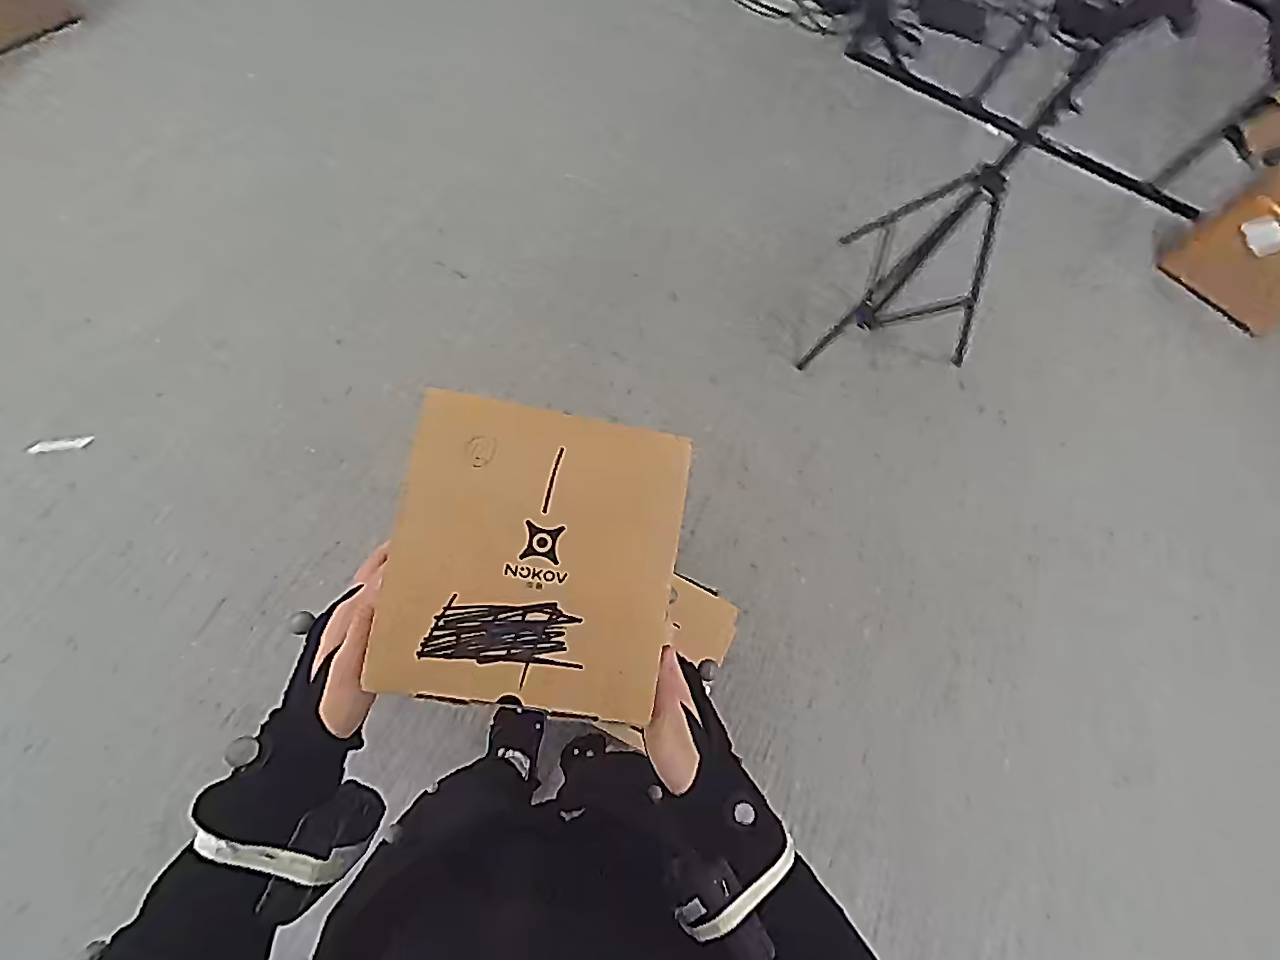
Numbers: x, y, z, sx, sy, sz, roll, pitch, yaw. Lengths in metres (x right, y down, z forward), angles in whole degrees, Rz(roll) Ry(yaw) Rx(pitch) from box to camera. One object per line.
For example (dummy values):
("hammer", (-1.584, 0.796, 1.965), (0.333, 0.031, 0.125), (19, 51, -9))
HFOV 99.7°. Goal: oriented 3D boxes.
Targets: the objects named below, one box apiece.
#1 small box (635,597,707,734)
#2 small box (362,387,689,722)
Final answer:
("small box", (-0.018, 0.268, 0.851), (0.168, 0.176, 0.179), (27, 70, 2))
("small box", (-0.073, 0.052, 0.396), (0.168, 0.176, 0.179), (10, 82, -8))
